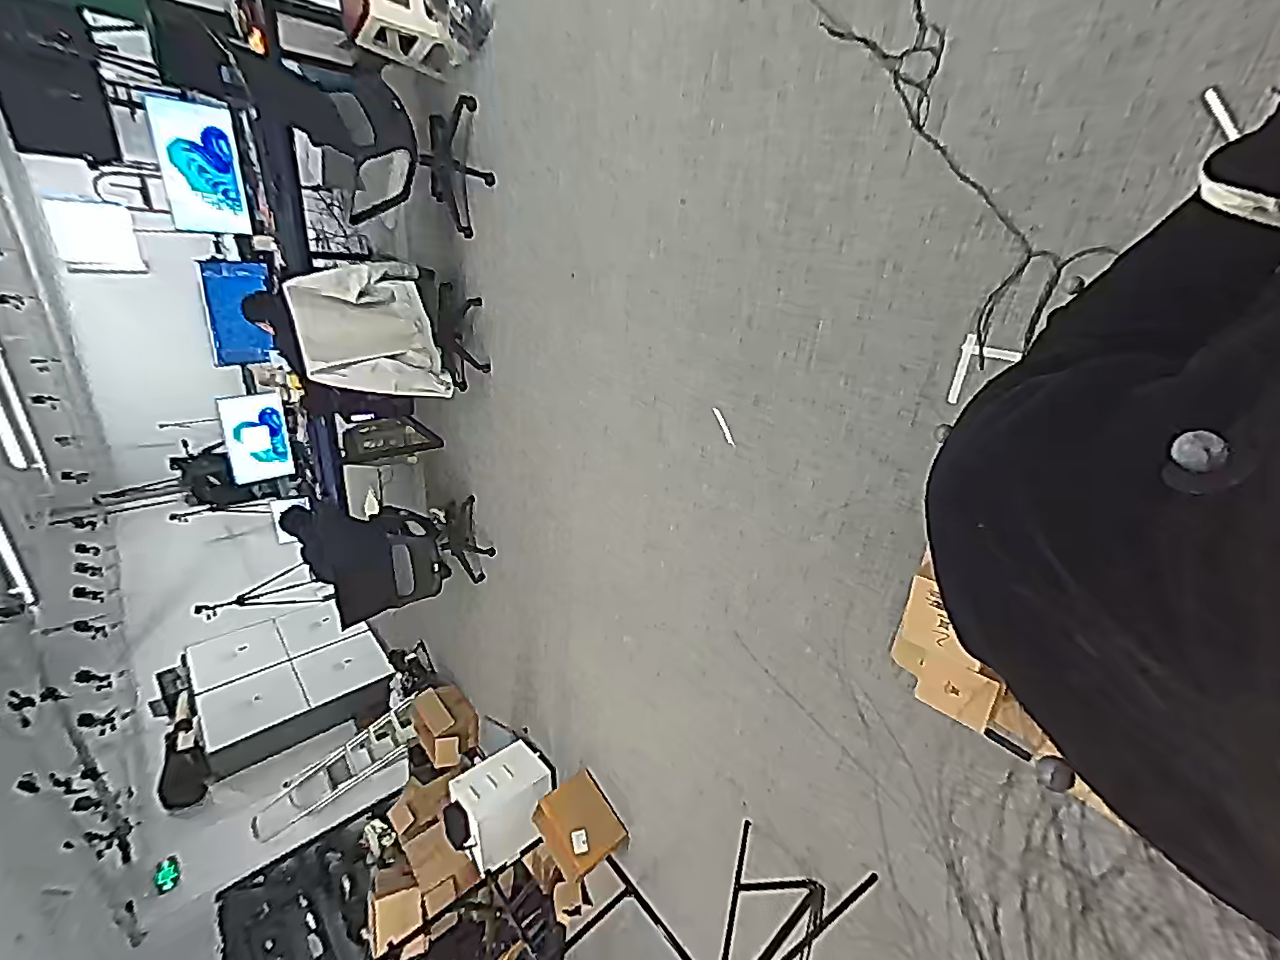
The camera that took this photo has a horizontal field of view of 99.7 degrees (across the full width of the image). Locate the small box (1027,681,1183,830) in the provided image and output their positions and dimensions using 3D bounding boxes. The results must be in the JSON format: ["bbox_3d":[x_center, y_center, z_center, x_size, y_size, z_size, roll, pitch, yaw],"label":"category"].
[{"bbox_3d":[0.923,0.532,1.077,0.179,0.176,0.168,32,126,37],"label":"small box"}]

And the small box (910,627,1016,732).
[{"bbox_3d":[0.846,0.510,1.417,0.179,0.176,0.168,23,121,42],"label":"small box"}]
